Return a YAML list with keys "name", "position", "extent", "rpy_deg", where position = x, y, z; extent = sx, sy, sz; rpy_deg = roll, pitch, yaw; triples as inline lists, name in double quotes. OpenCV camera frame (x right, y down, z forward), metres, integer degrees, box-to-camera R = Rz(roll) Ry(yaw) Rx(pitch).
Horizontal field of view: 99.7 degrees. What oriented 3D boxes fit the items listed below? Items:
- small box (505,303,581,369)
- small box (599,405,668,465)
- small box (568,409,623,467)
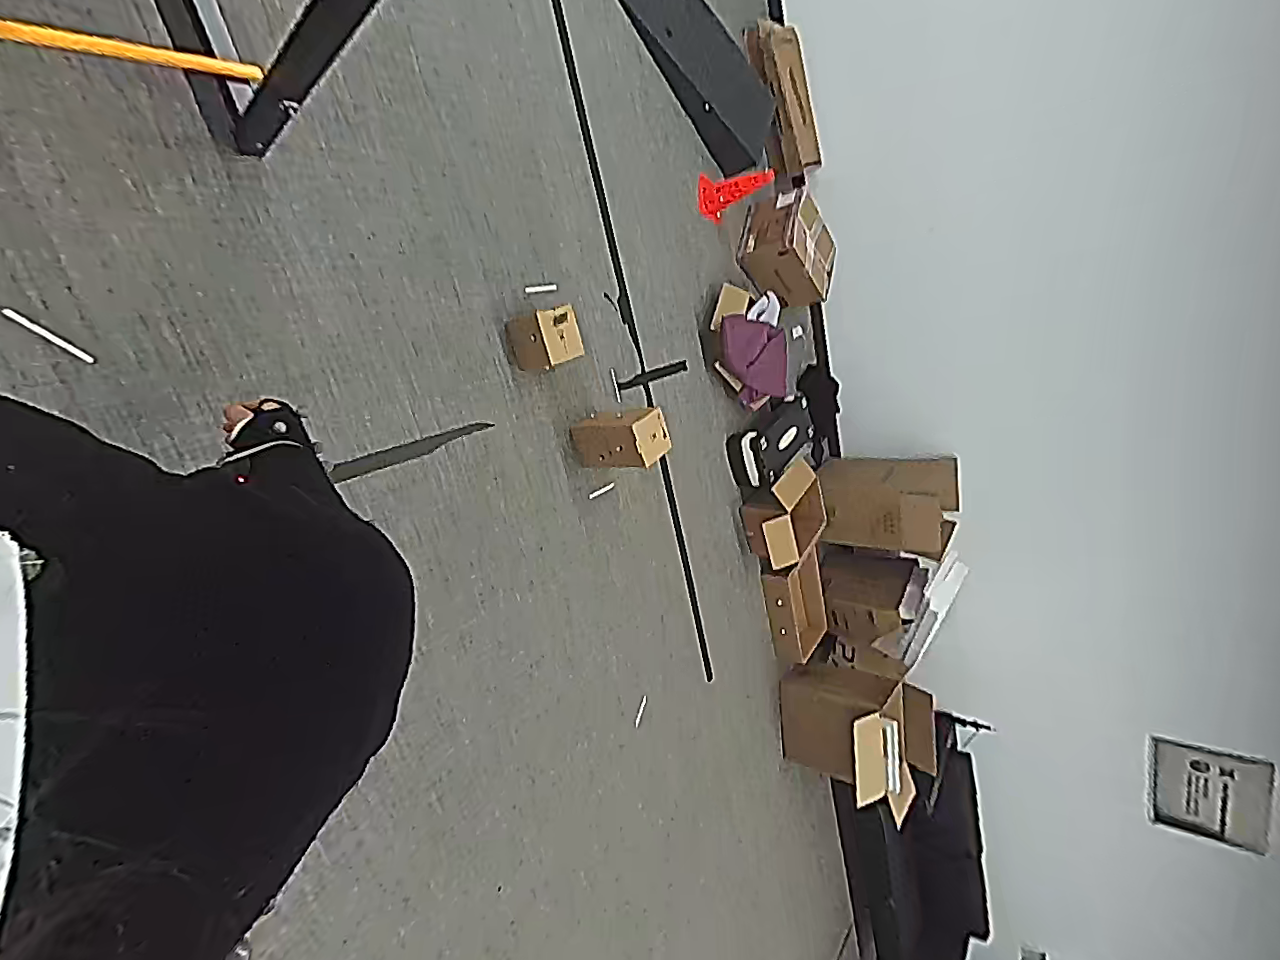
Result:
- name: "small box"
  position: [-0.337, -0.492, 1.857]
  extent: [0.168, 0.176, 0.179]
  rpy_deg: [-33, 116, -44]
- name: "small box"
  position: [-0.030, -0.160, 1.971]
  extent: [0.179, 0.176, 0.168]
  rpy_deg: [-38, 119, -42]
- name: "small box"
  position: [-0.148, -0.163, 2.084]
  extent: [0.168, 0.176, 0.179]
  rpy_deg: [-37, 118, -43]
